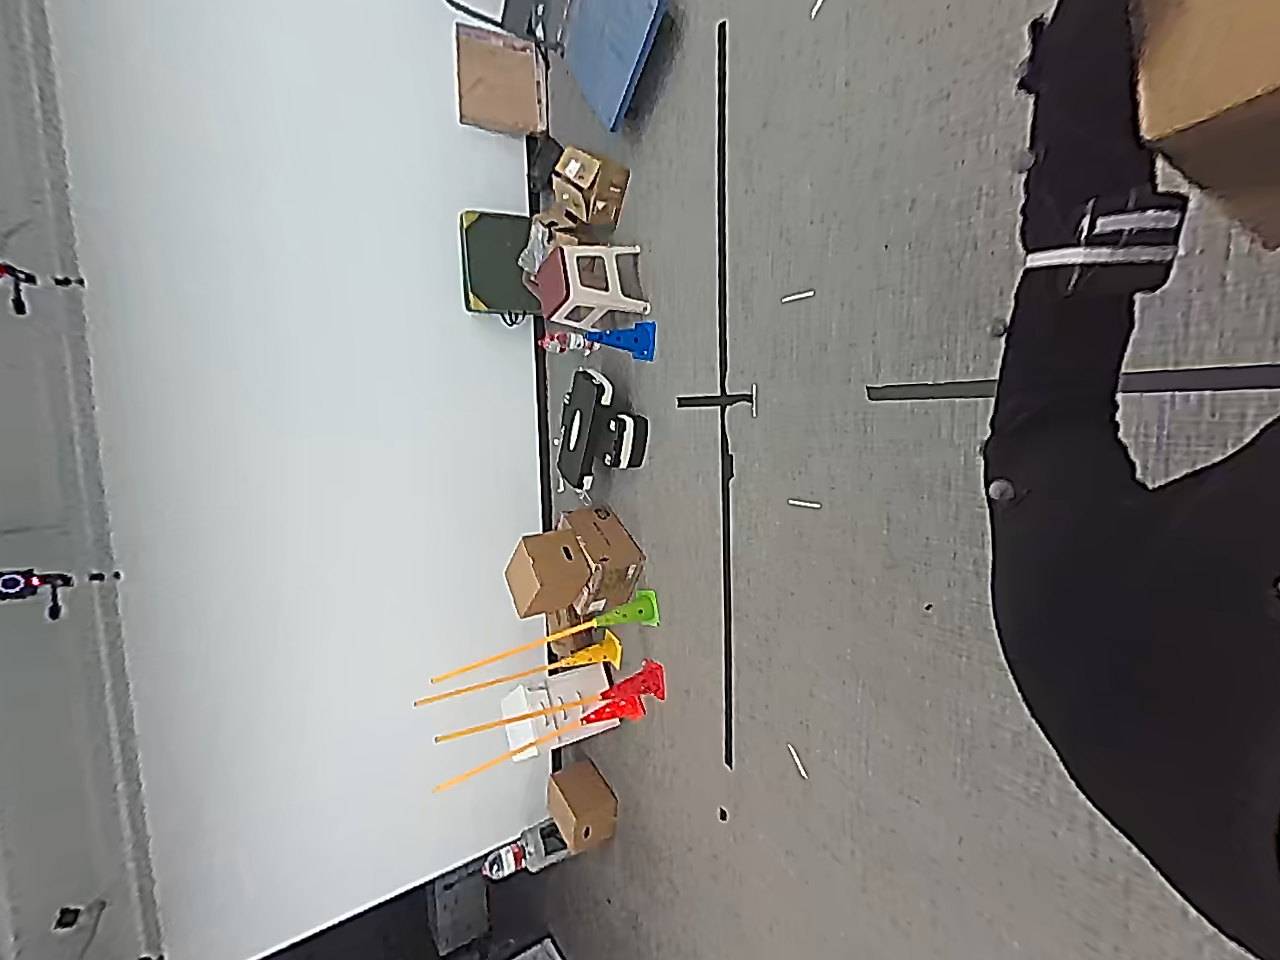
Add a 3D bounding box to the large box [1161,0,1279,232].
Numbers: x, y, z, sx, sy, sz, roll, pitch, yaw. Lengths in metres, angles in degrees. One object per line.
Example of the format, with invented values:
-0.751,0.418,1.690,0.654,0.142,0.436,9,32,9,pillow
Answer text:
0.563,-0.386,0.262,0.408,0.320,0.320,-4,86,58,large box
